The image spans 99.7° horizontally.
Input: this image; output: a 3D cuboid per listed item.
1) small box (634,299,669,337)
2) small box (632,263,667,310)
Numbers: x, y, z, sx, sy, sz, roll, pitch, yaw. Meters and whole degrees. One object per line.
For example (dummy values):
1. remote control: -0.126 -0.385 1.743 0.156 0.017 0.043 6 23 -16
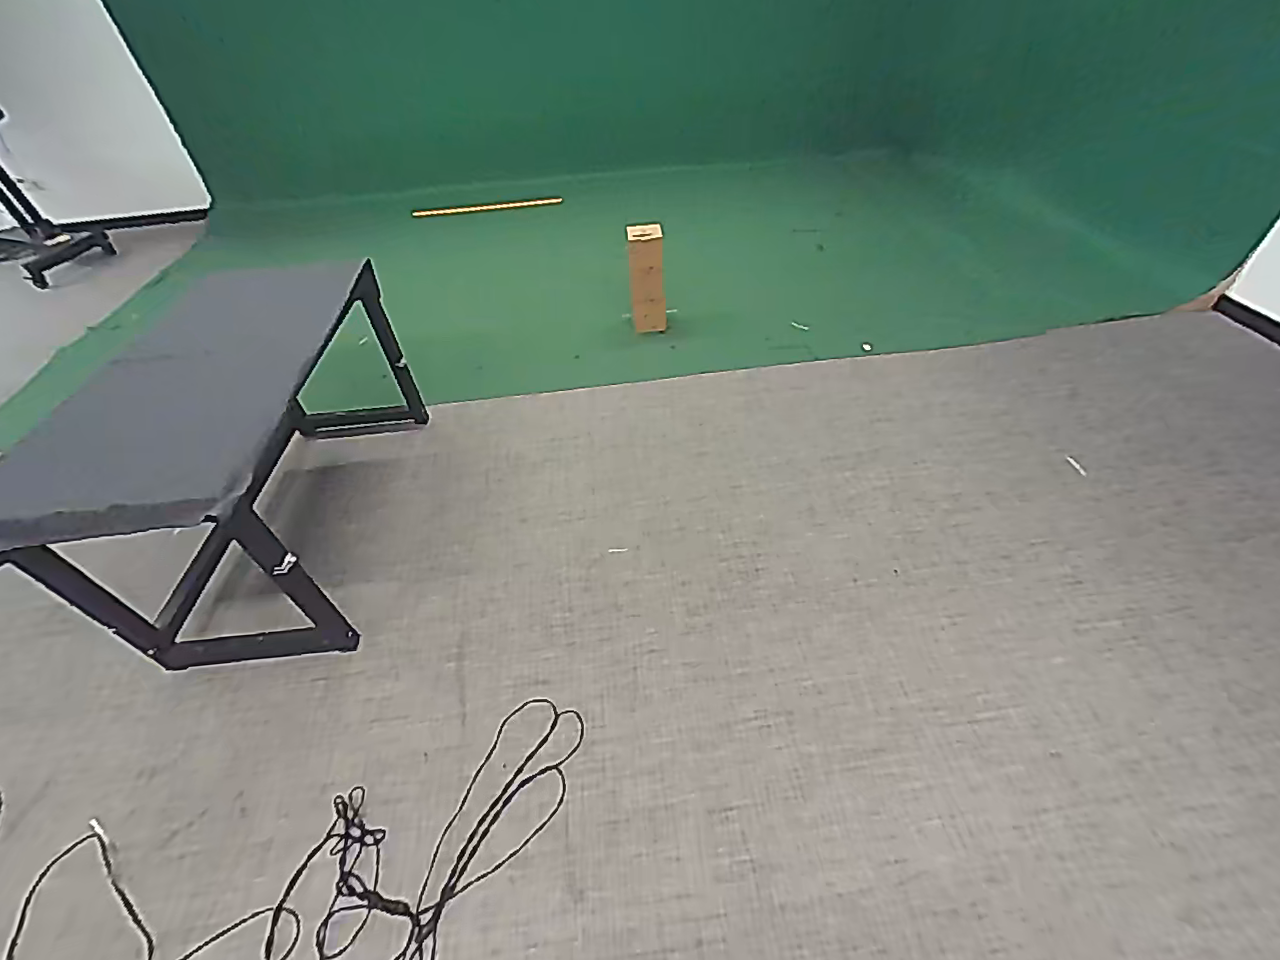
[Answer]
1. small box: 0.065 -0.893 2.941 0.168 0.176 0.179 -8 44 -1
2. small box: 0.049 -1.010 2.826 0.168 0.176 0.179 -6 44 1
